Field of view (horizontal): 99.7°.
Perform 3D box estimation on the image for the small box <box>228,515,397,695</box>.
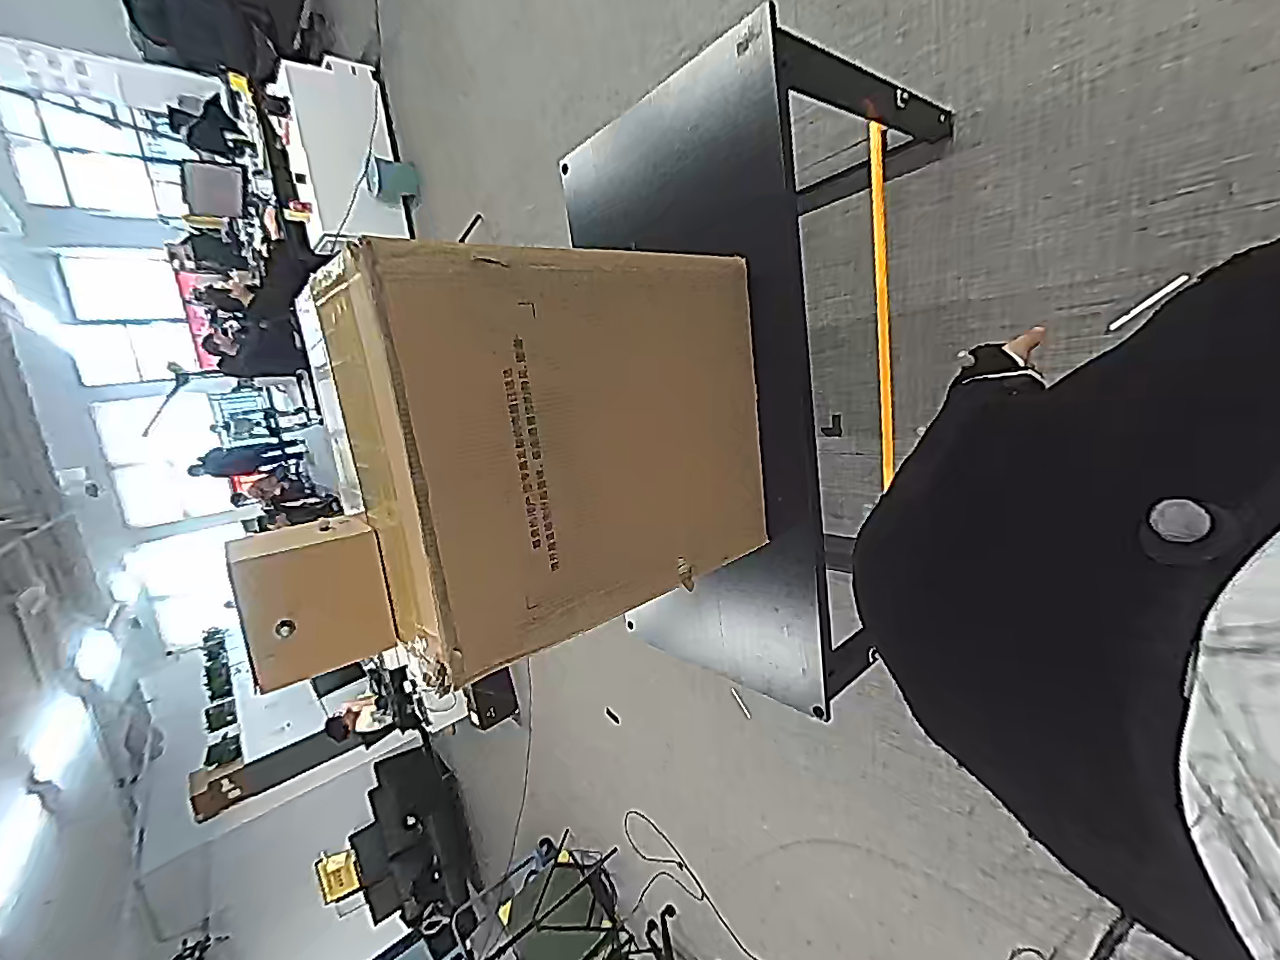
[{"bbox_3d":[-0.459,0.162,0.765,0.168,0.176,0.179,8,107,52],"label":"small box"}]
